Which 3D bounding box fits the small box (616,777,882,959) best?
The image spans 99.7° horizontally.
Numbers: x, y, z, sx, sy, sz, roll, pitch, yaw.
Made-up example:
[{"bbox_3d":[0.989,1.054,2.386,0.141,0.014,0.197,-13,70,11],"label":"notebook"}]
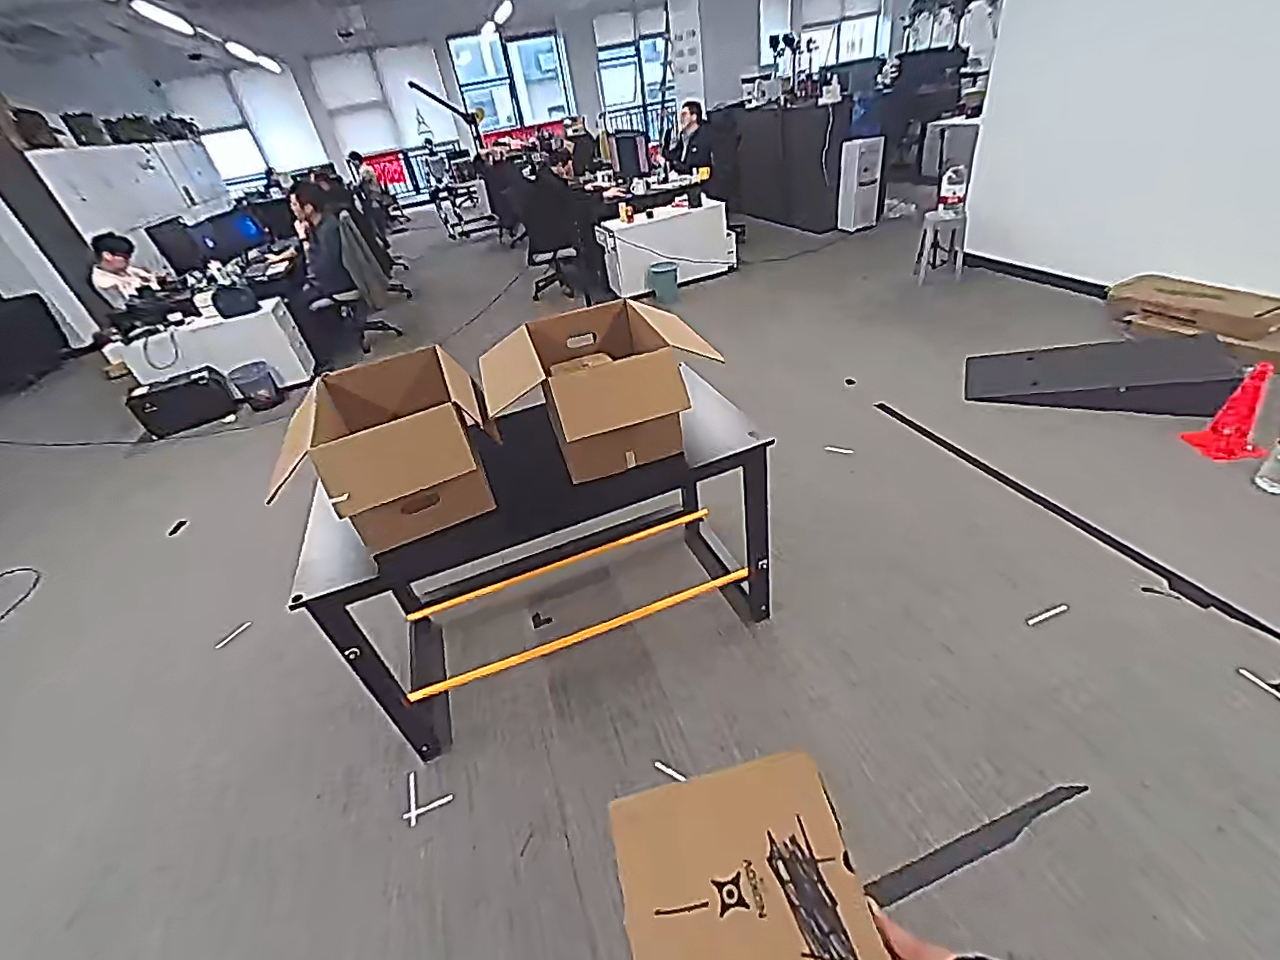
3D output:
[{"bbox_3d":[0.087,0.377,0.463,0.179,0.176,0.168,-14,50,-2],"label":"small box"}]
